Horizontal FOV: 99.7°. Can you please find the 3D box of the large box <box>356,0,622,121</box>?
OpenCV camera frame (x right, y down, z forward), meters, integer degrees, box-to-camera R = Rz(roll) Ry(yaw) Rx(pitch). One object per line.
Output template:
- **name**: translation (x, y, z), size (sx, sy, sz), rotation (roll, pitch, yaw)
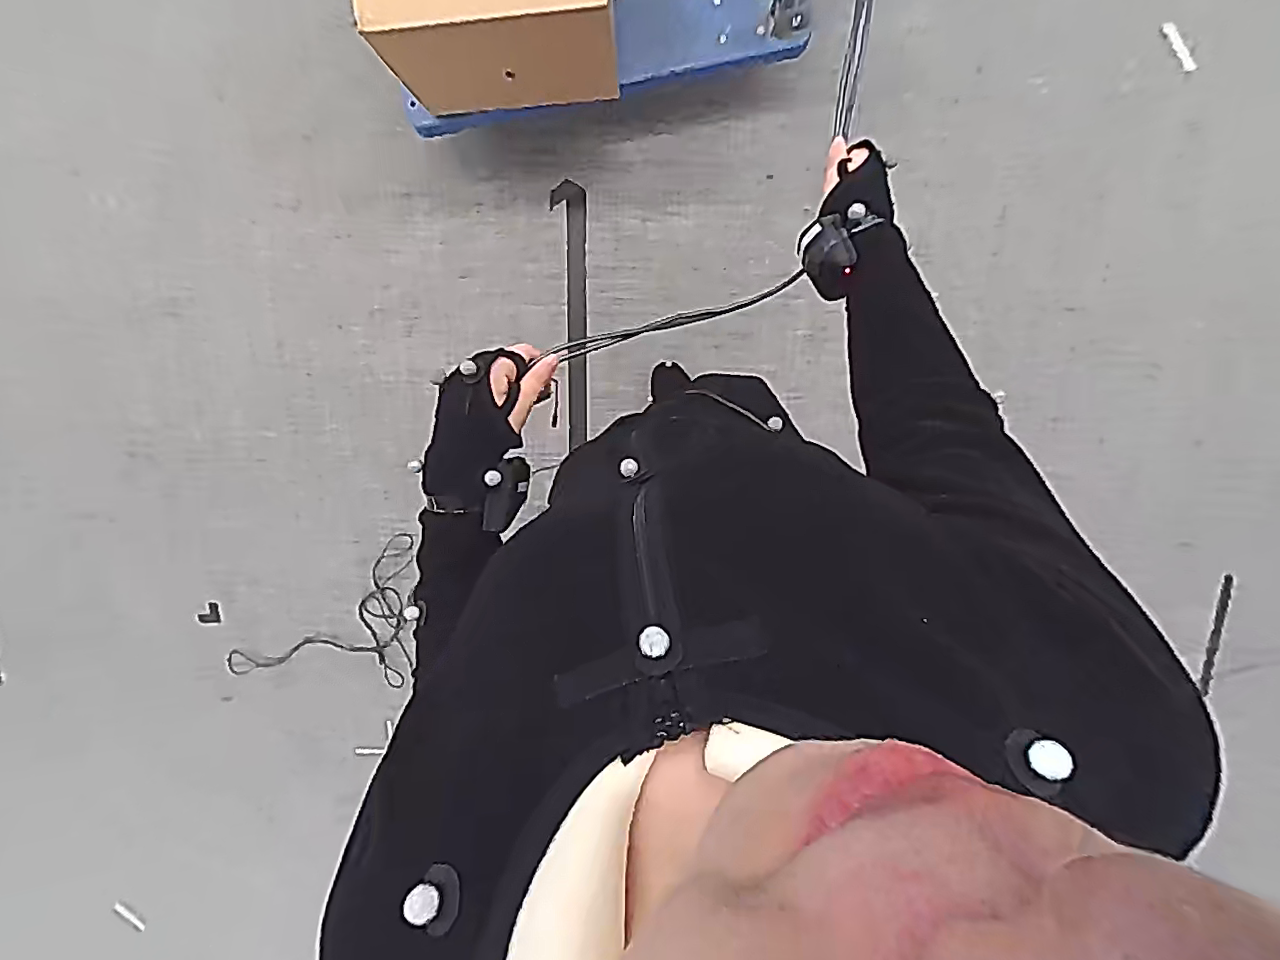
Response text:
- **large box**: translation (-0.254, -0.894, 0.967), size (0.408, 0.320, 0.320), rotation (-5, 101, 3)
